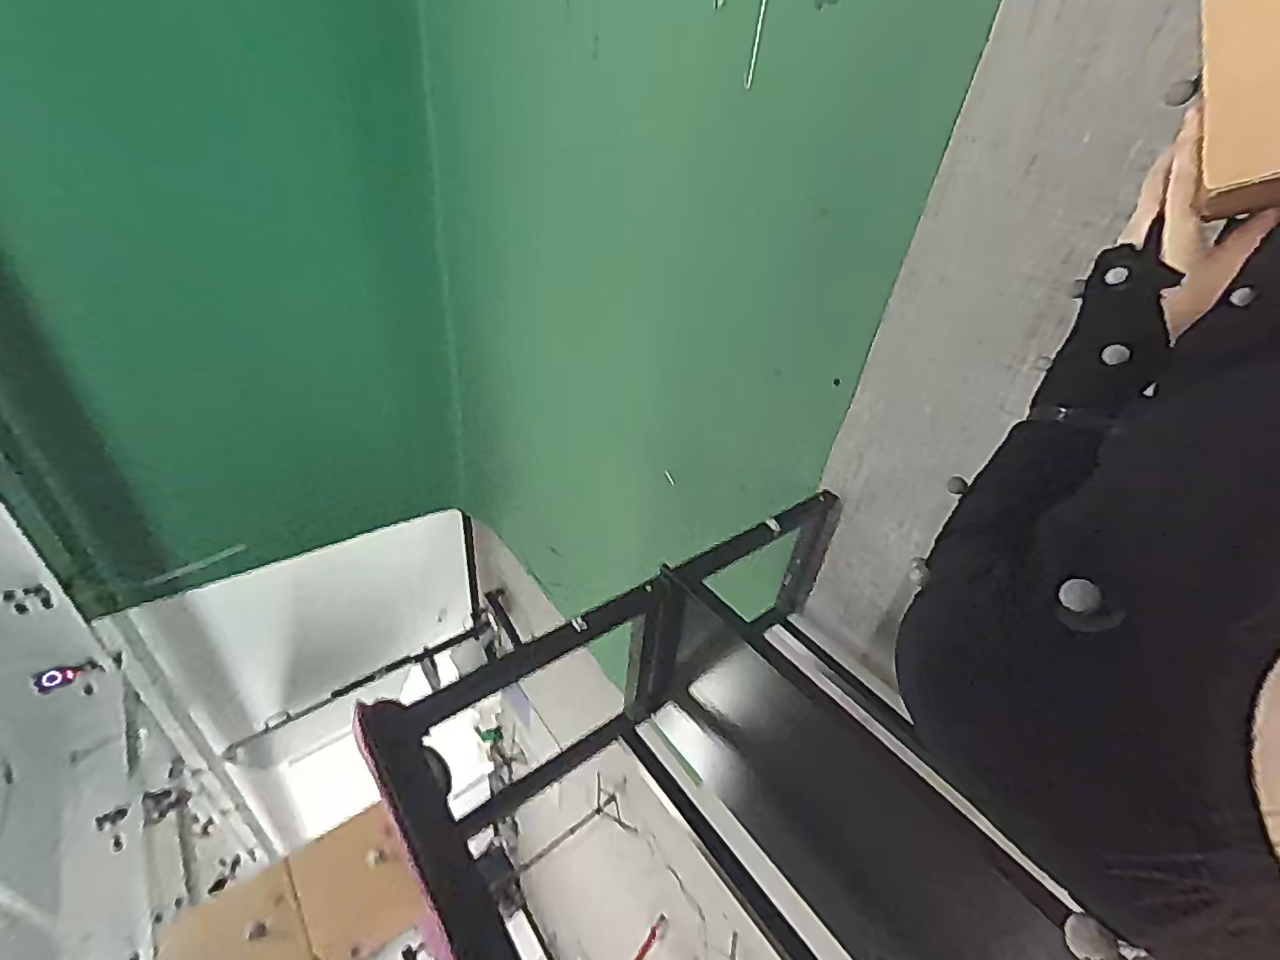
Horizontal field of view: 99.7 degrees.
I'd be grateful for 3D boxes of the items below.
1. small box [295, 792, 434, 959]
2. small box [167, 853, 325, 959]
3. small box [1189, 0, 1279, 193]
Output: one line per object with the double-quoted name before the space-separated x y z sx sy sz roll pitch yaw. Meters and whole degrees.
"small box" -0.470 0.694 0.941 0.168 0.176 0.179 42 136 34
"small box" -0.598 0.741 0.850 0.168 0.176 0.179 42 137 34
"small box" 0.401 -0.265 0.275 0.168 0.176 0.179 0 104 46
